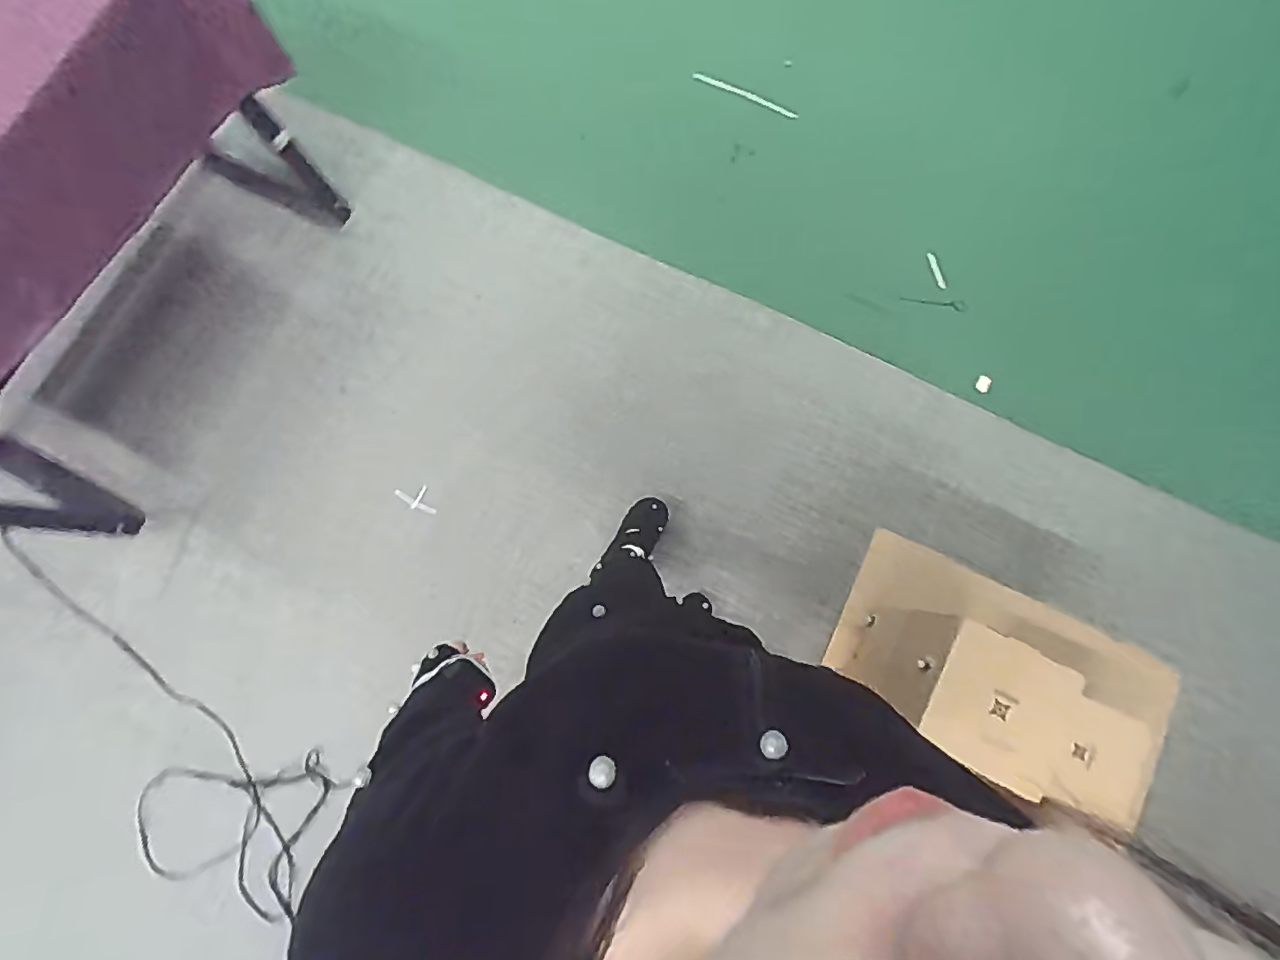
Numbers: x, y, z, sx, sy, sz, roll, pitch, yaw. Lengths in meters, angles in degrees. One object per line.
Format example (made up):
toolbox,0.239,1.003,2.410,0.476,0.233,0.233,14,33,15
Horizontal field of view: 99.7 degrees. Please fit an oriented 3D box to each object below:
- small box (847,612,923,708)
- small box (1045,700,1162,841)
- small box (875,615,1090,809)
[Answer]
small box,0.484,0.337,0.918,0.179,0.176,0.168,28,82,6
small box,0.680,0.439,0.893,0.179,0.176,0.168,25,80,5
small box,0.462,0.305,0.759,0.168,0.176,0.179,28,82,8
